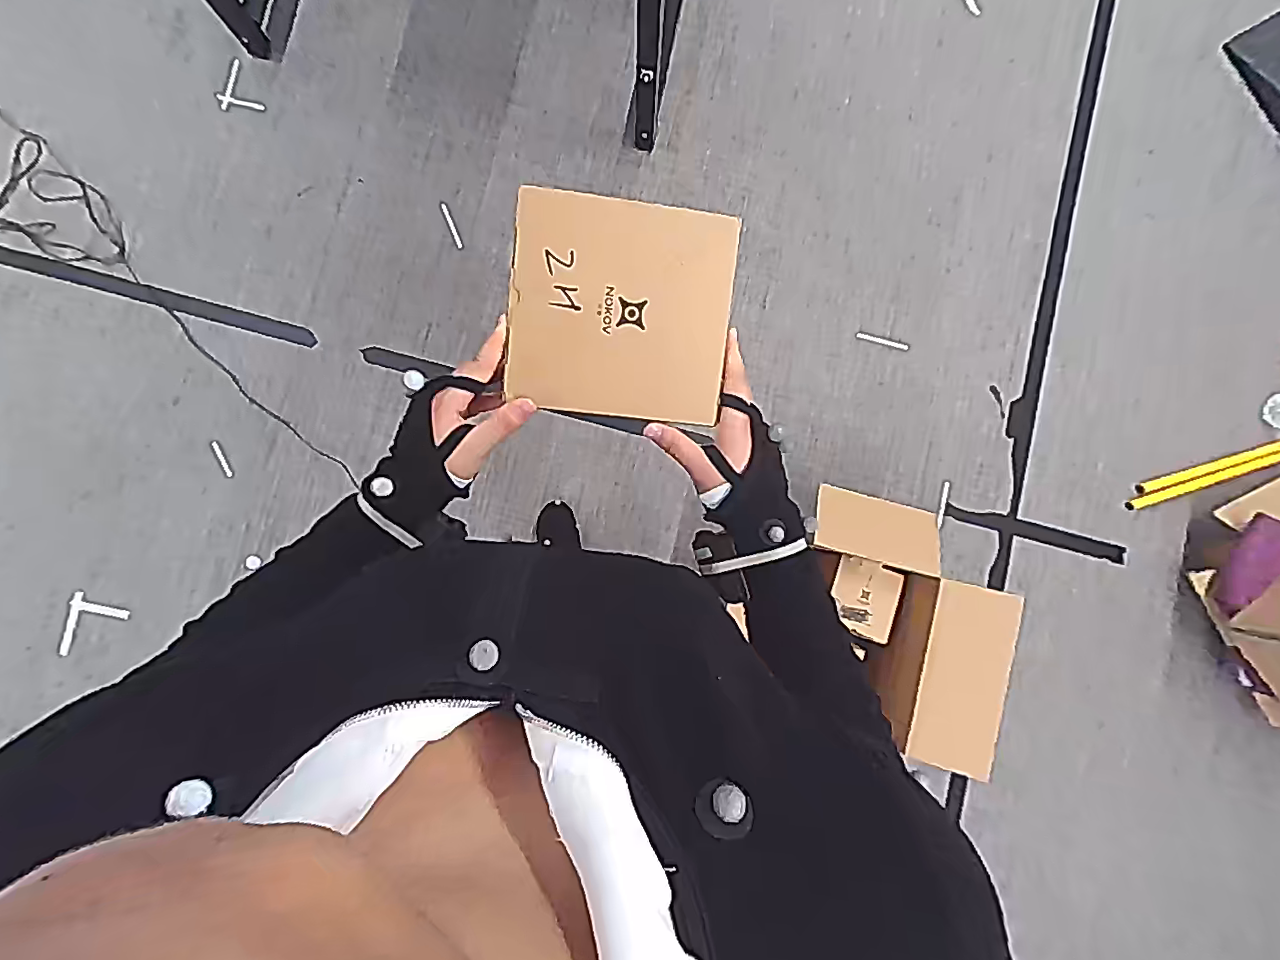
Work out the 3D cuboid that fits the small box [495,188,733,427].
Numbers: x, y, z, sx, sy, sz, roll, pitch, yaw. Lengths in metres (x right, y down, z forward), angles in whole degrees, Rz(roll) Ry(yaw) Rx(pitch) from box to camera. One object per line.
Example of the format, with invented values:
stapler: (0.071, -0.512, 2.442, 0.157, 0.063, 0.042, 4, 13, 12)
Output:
small box: (-0.028, -0.144, 0.506, 0.179, 0.176, 0.168, 6, 97, -5)
